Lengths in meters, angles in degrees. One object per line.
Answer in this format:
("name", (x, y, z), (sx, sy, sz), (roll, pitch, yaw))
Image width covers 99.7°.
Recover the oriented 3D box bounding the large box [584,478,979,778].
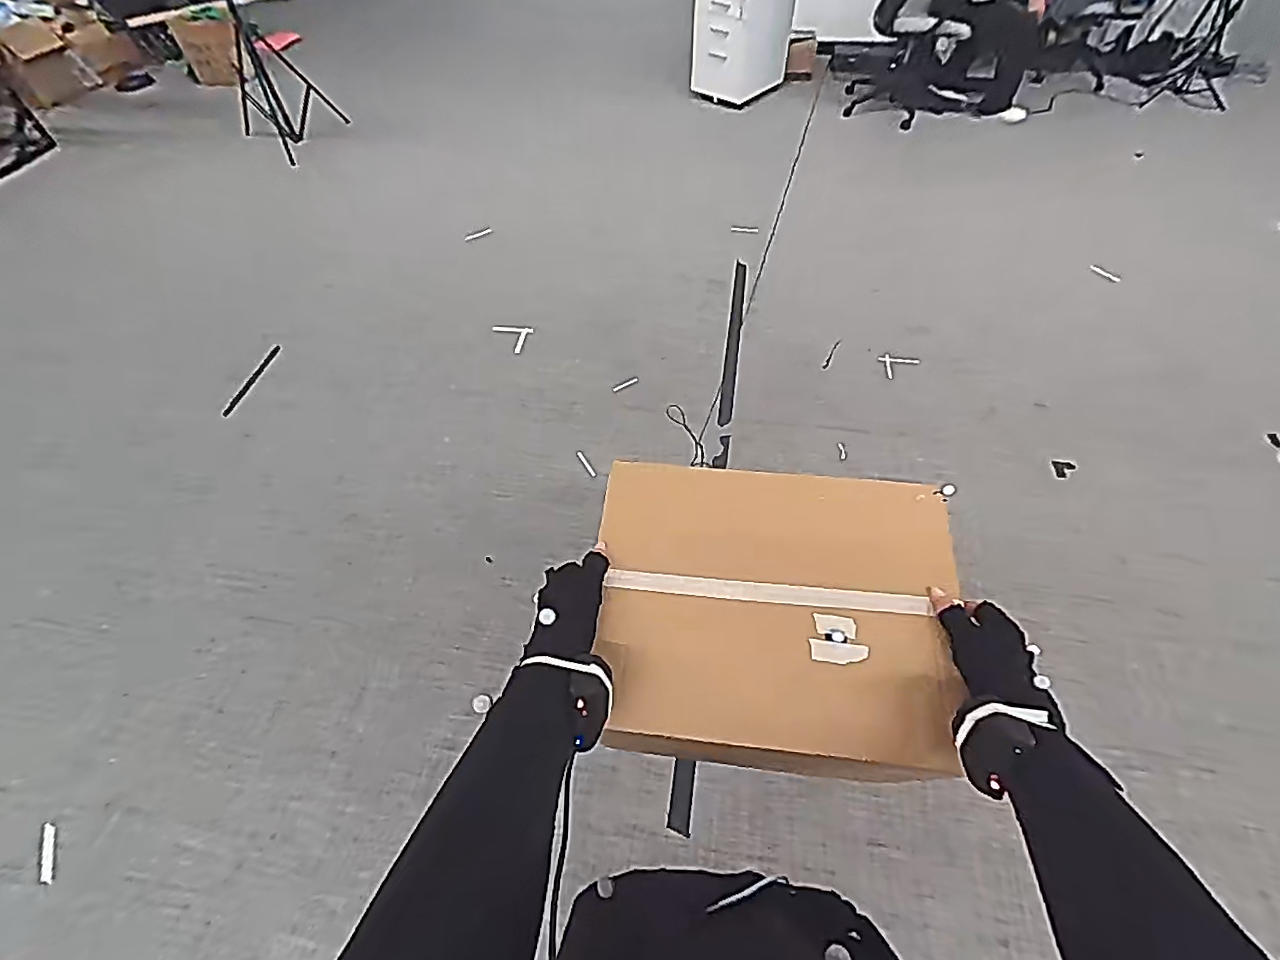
("large box", (0.156, 0.215, 0.746), (0.408, 0.320, 0.320), (4, 61, 5))
